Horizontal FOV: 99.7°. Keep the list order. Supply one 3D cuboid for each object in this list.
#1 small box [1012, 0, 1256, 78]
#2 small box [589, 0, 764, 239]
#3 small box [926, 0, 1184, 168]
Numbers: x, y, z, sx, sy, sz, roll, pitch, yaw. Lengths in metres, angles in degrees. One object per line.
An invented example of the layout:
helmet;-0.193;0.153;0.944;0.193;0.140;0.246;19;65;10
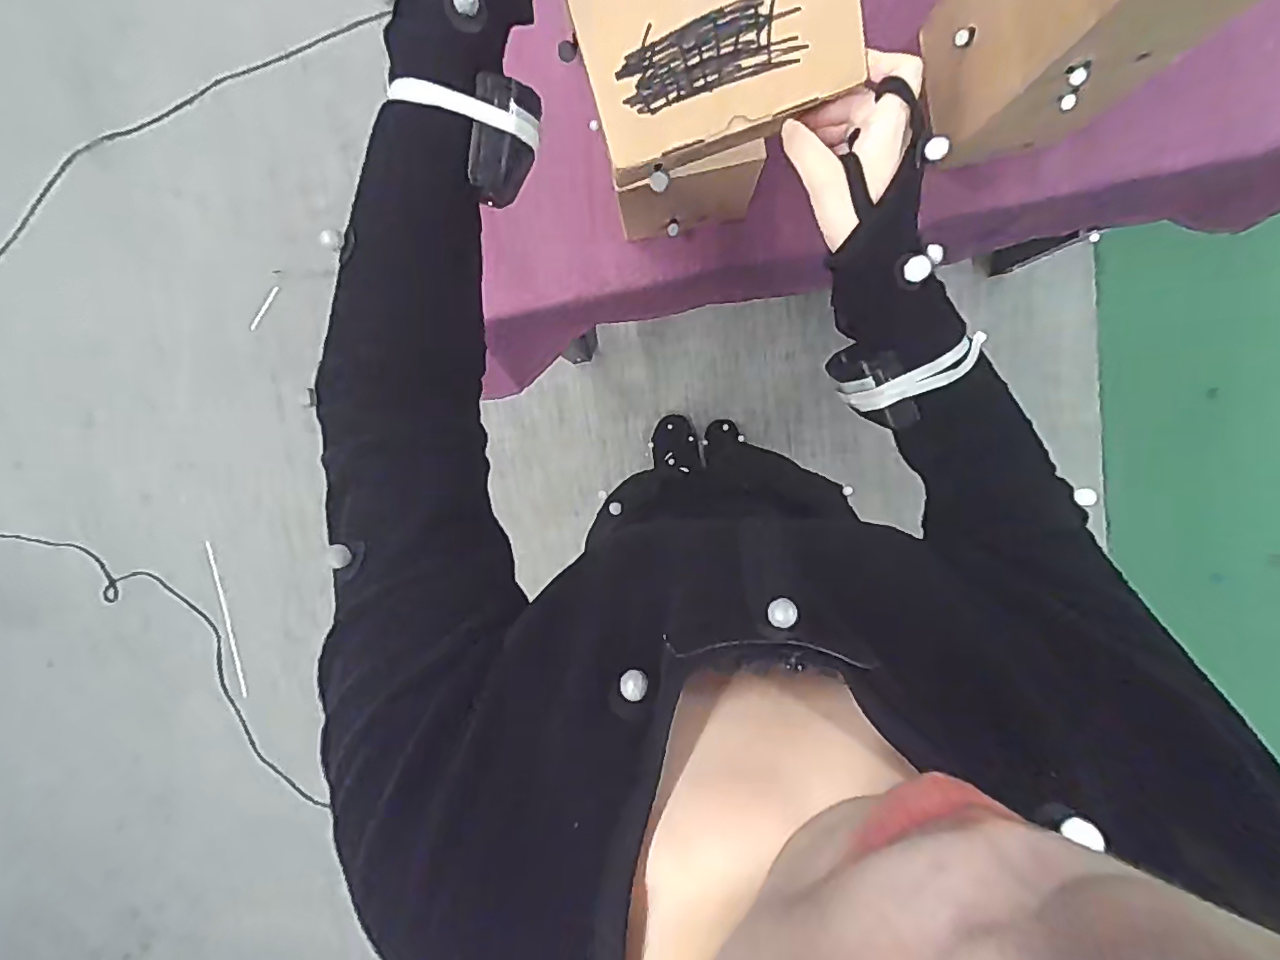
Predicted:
small box;0.446;-0.482;0.455;0.168;0.176;0.179;-11;95;4
small box;0.041;-0.417;0.648;0.168;0.176;0.179;-10;96;4
small box;0.452;-0.498;0.619;0.168;0.176;0.179;-10;95;5
